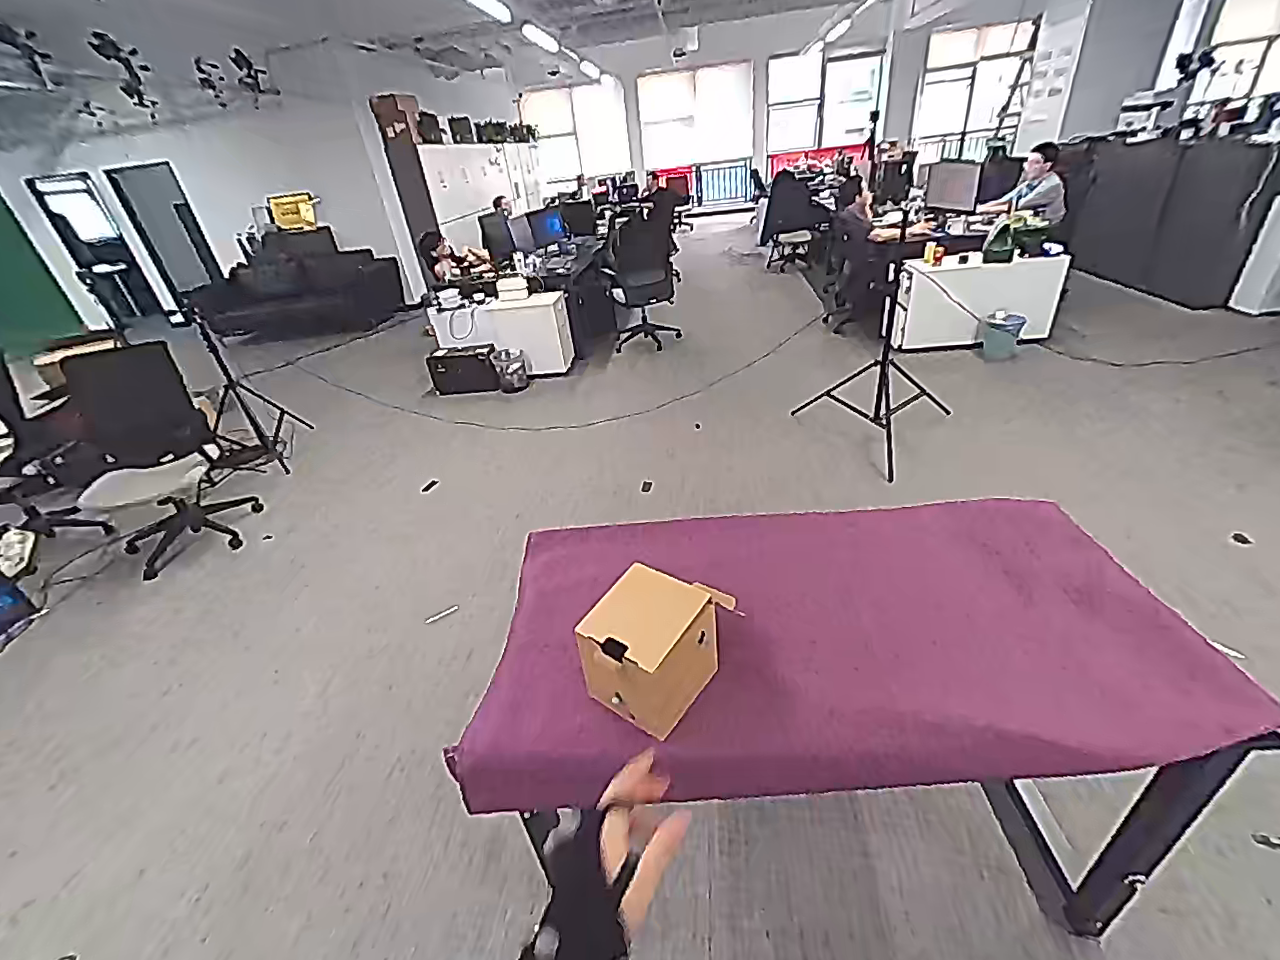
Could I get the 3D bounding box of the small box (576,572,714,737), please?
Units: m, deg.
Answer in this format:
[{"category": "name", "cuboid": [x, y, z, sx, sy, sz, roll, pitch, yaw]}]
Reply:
[{"category": "small box", "cuboid": [0.016, 0.296, 0.936, 0.168, 0.176, 0.179, 16, 38, 35]}]
